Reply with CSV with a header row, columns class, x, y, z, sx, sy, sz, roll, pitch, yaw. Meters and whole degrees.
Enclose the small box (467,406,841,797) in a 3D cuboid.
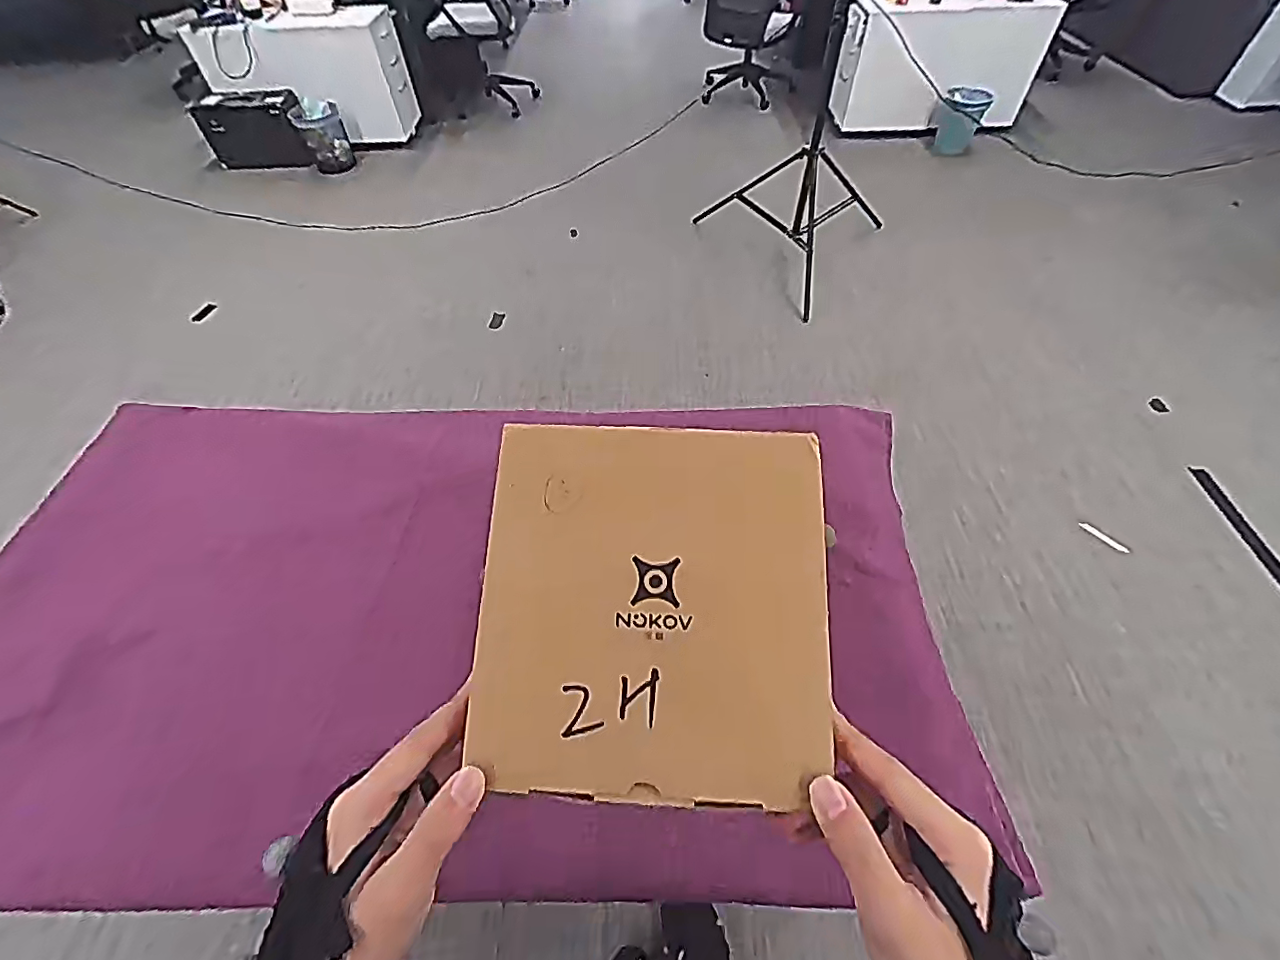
class,x,y,z,sx,sy,sz,roll,pitch,yaw
small box,0.013,0.071,0.334,0.168,0.176,0.179,2,73,4
